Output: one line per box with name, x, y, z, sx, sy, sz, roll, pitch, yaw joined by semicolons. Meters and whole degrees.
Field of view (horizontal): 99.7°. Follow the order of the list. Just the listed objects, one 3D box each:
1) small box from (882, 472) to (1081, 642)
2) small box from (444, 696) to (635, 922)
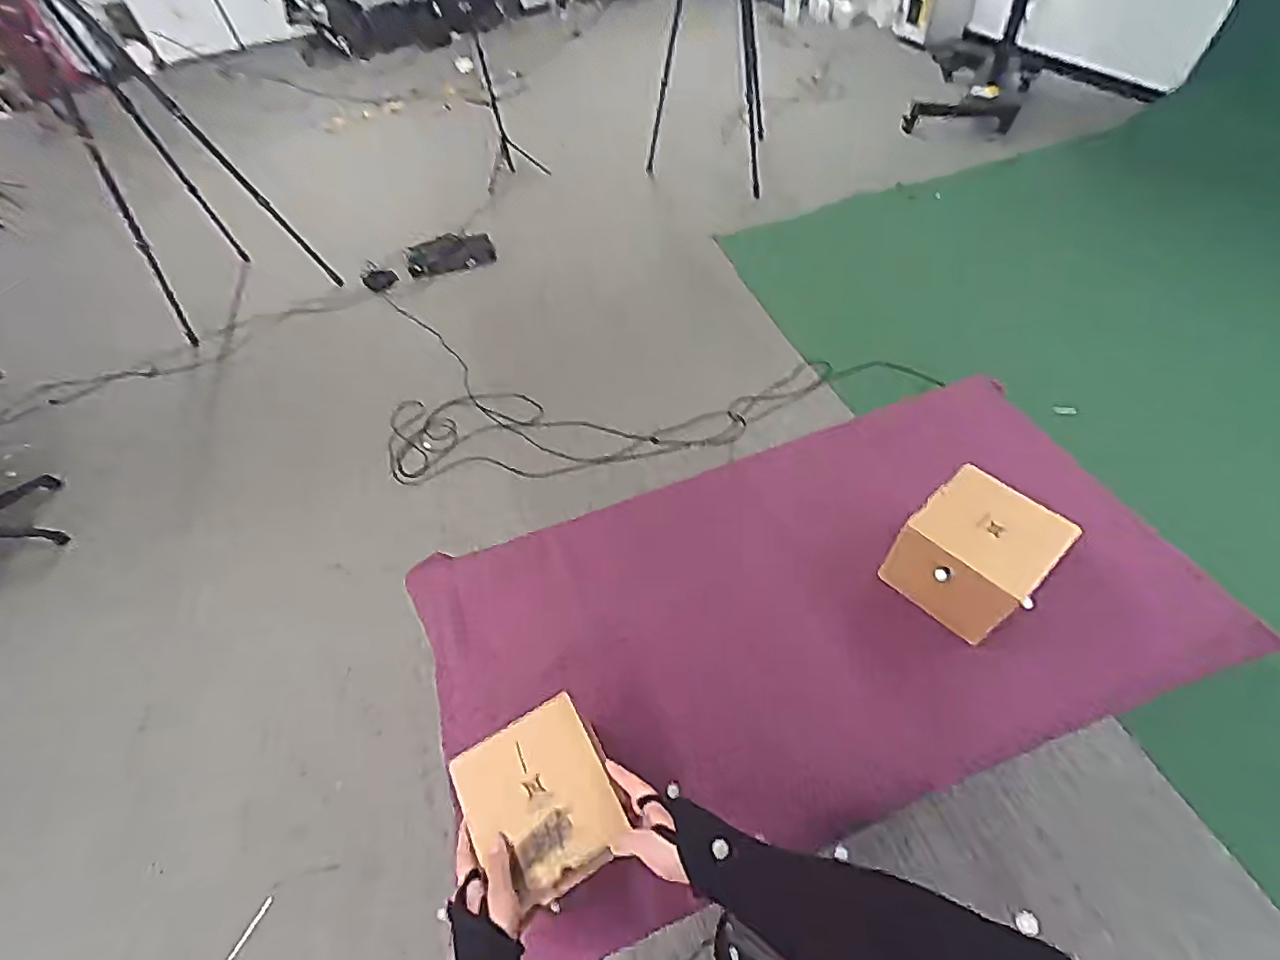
small box;0.515;0.127;0.841;0.168;0.176;0.179;-36;56;-19
small box;-0.119;0.415;0.689;0.168;0.176;0.179;-27;53;-14
